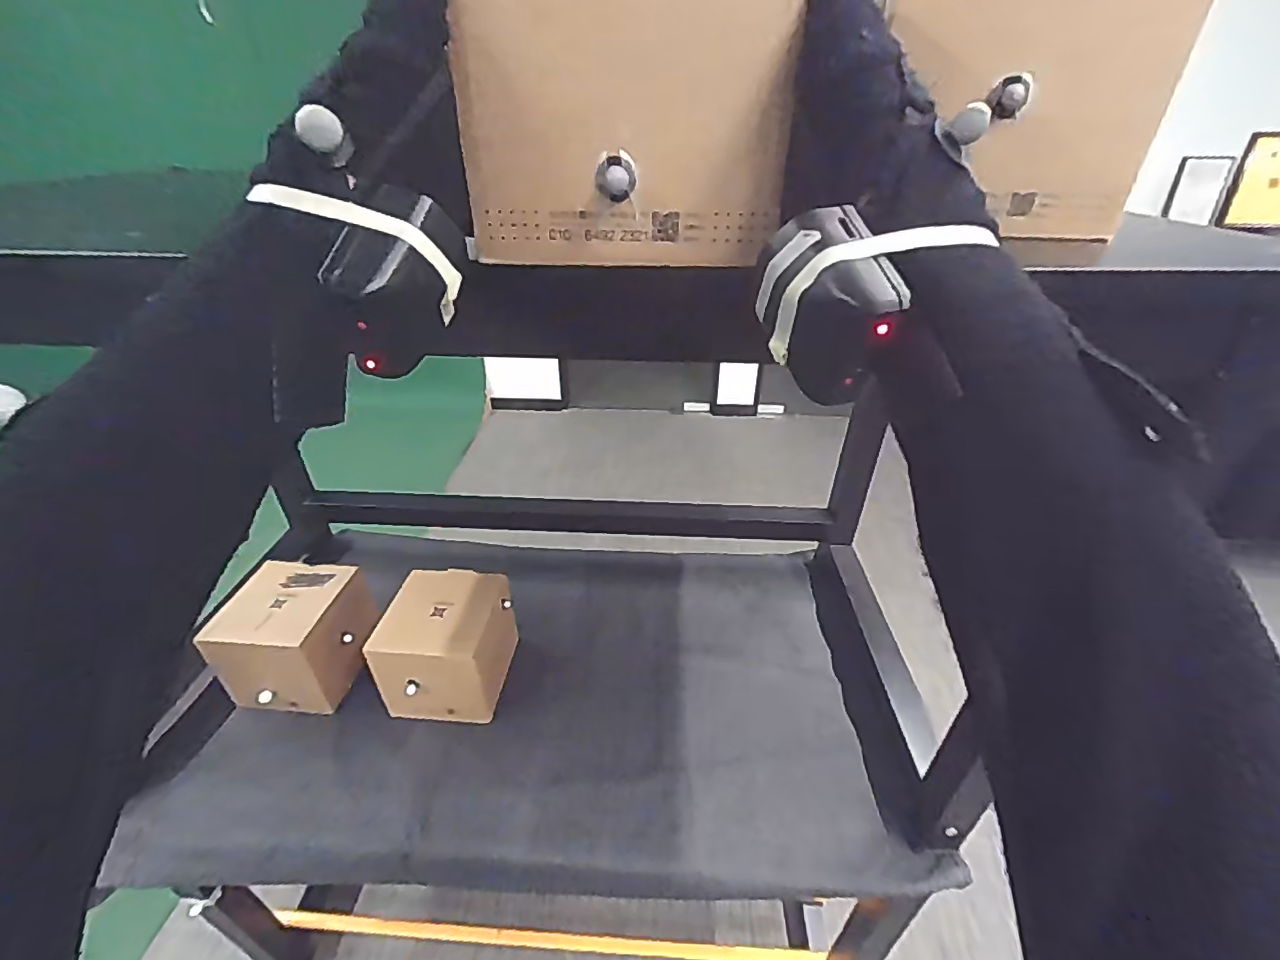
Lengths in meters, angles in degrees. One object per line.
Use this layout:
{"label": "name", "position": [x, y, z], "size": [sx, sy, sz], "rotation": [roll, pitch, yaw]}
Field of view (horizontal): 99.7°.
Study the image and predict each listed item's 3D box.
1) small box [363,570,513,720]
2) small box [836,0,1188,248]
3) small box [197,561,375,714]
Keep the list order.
{"label": "small box", "position": [-0.317, 0.272, 0.895], "size": [0.168, 0.176, 0.179], "rotation": [3, 33, 3]}
{"label": "small box", "position": [0.248, -0.277, 0.403], "size": [0.168, 0.176, 0.179], "rotation": [8, 34, 12]}
{"label": "small box", "position": [-0.569, 0.260, 0.905], "size": [0.168, 0.176, 0.179], "rotation": [3, 34, 3]}
